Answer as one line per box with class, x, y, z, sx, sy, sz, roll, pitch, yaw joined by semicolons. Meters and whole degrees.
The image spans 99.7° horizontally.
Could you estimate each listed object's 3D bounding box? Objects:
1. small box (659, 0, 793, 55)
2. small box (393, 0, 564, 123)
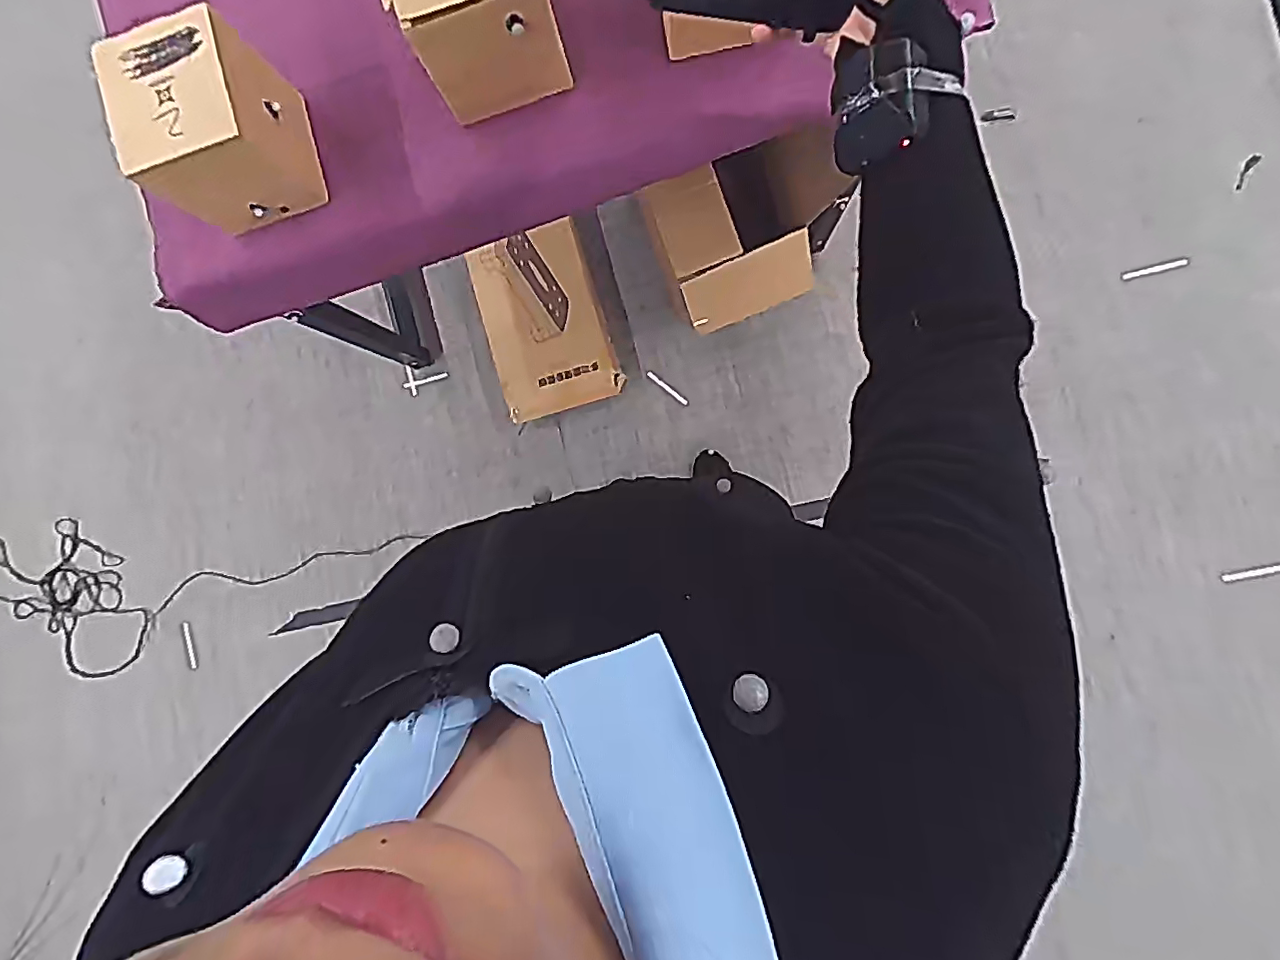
small box;0.103;-0.680;0.673;0.179;0.176;0.168;-9;89;5
small box;-0.208;-0.616;0.702;0.179;0.176;0.168;-16;86;5
